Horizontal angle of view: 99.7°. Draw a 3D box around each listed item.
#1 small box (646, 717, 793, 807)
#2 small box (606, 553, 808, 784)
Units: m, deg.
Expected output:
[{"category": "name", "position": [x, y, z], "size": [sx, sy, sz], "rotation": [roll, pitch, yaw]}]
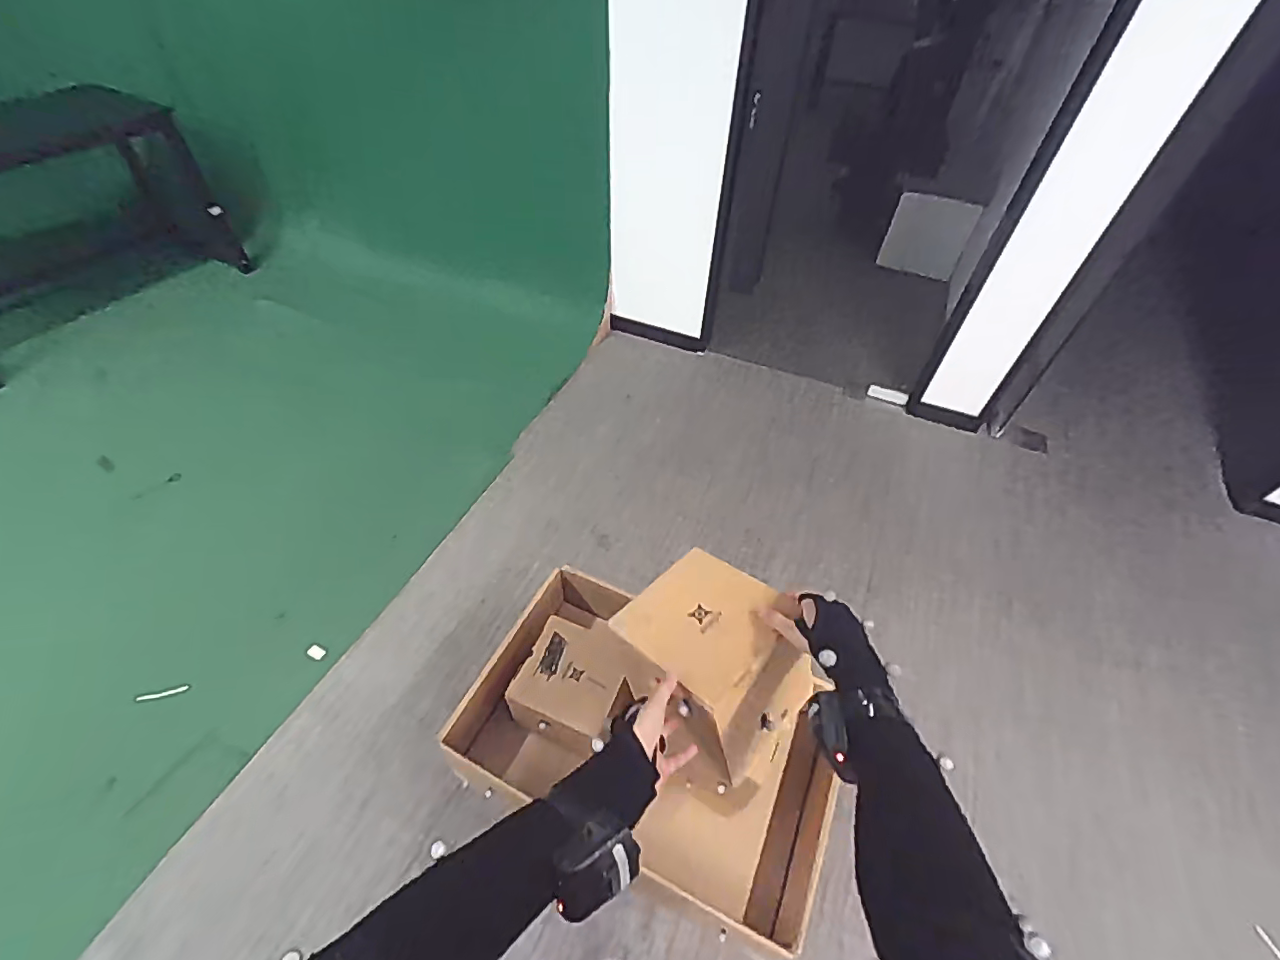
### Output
[{"category": "small box", "position": [0.122, 0.360, 0.812], "size": [0.179, 0.176, 0.168], "rotation": [24, 52, 19]}, {"category": "small box", "position": [0.086, 0.227, 0.669], "size": [0.168, 0.176, 0.179], "rotation": [-34, 38, -27]}]
